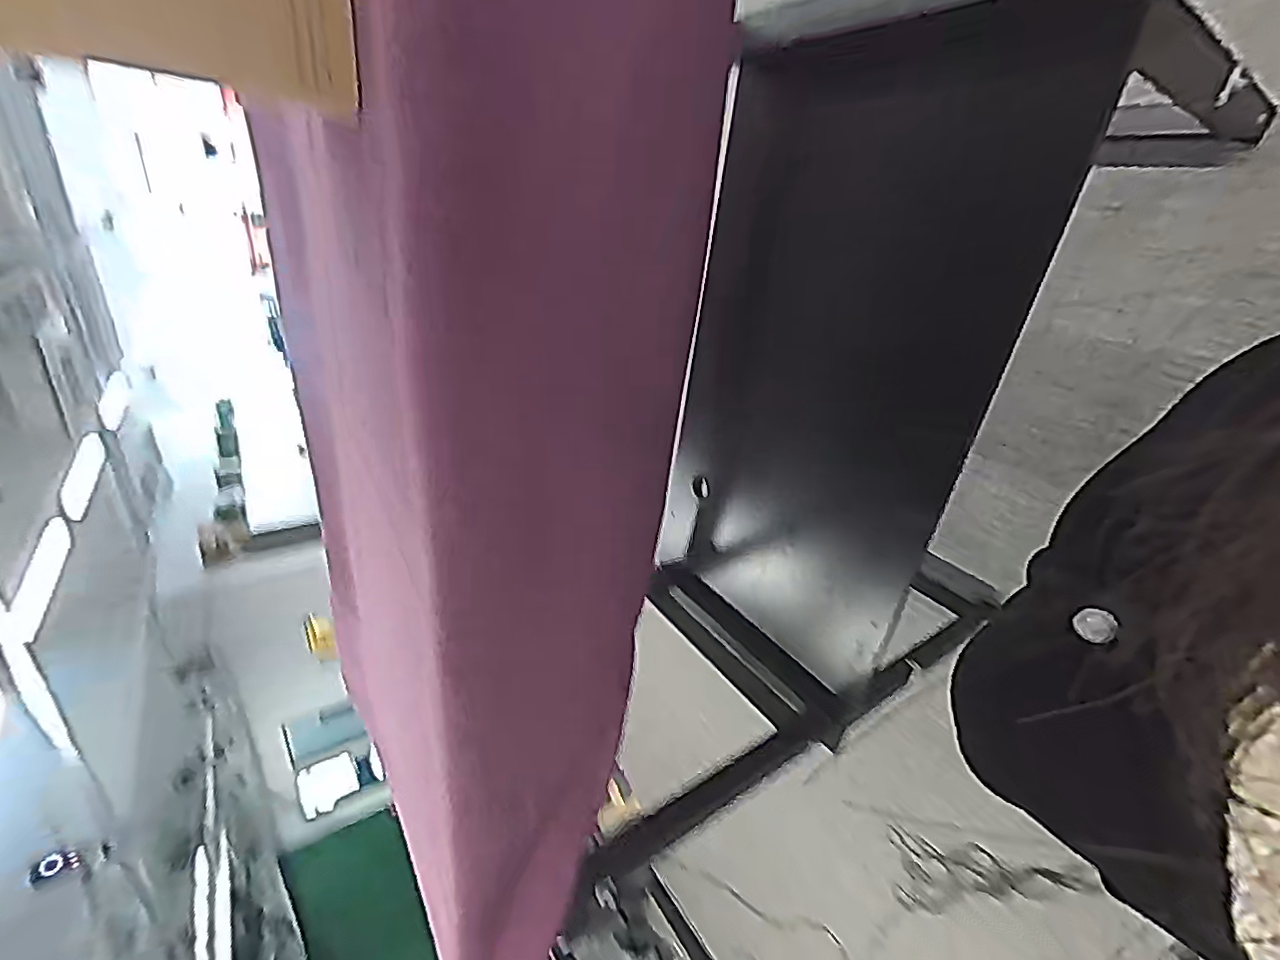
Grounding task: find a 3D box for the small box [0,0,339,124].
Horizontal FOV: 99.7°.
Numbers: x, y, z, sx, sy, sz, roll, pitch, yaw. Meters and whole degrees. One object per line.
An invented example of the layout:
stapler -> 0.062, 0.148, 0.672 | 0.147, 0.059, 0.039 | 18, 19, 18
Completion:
small box -> -0.256, -0.292, 0.255 | 0.168, 0.176, 0.179 | 43, 133, 43
